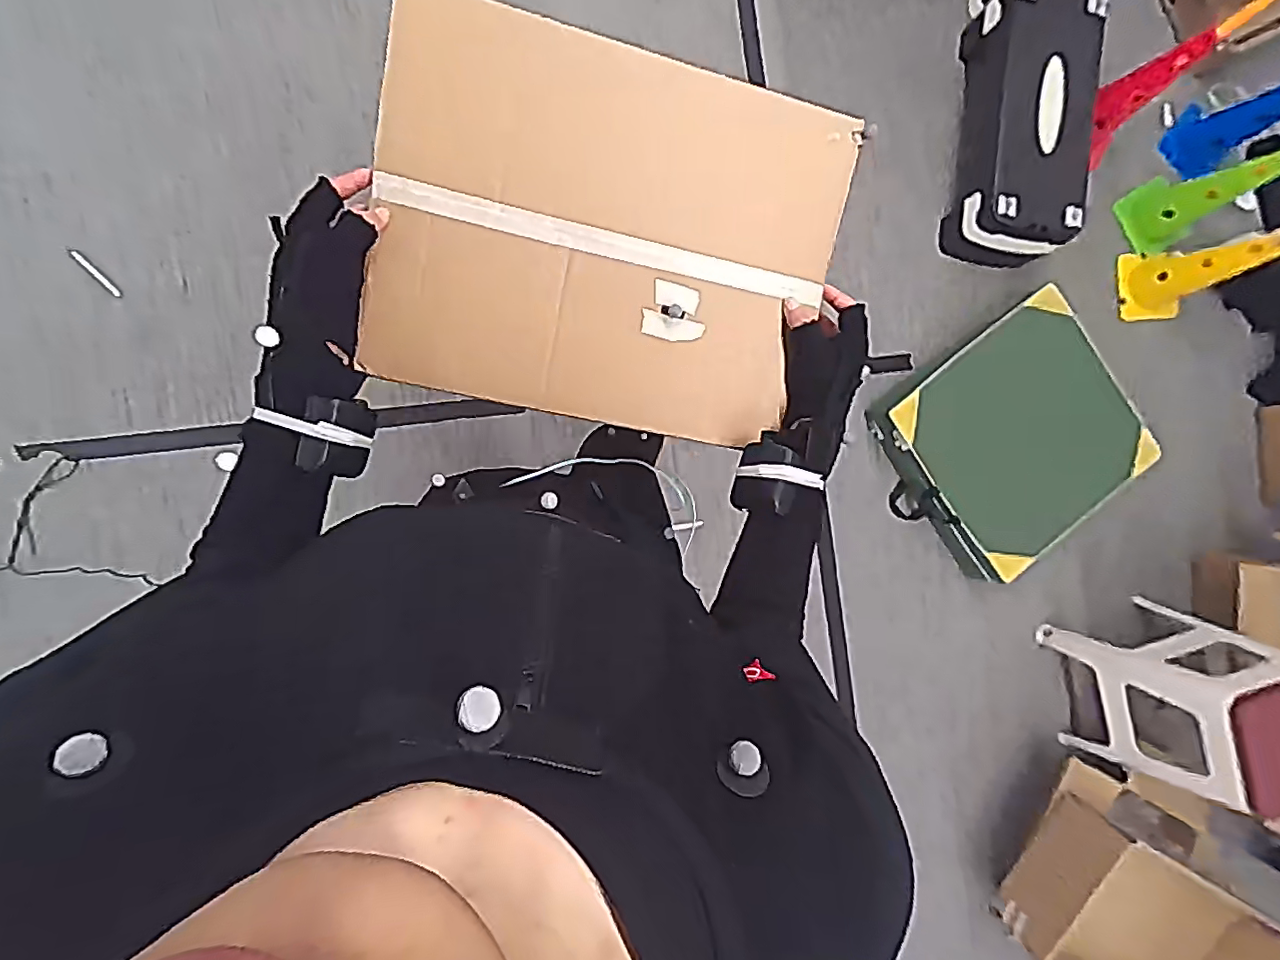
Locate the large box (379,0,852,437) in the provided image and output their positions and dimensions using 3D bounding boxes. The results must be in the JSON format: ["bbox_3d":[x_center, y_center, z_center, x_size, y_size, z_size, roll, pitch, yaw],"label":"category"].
[{"bbox_3d":[-0.042,-0.252,0.645,0.408,0.320,0.320,10,101,-11],"label":"large box"}]
